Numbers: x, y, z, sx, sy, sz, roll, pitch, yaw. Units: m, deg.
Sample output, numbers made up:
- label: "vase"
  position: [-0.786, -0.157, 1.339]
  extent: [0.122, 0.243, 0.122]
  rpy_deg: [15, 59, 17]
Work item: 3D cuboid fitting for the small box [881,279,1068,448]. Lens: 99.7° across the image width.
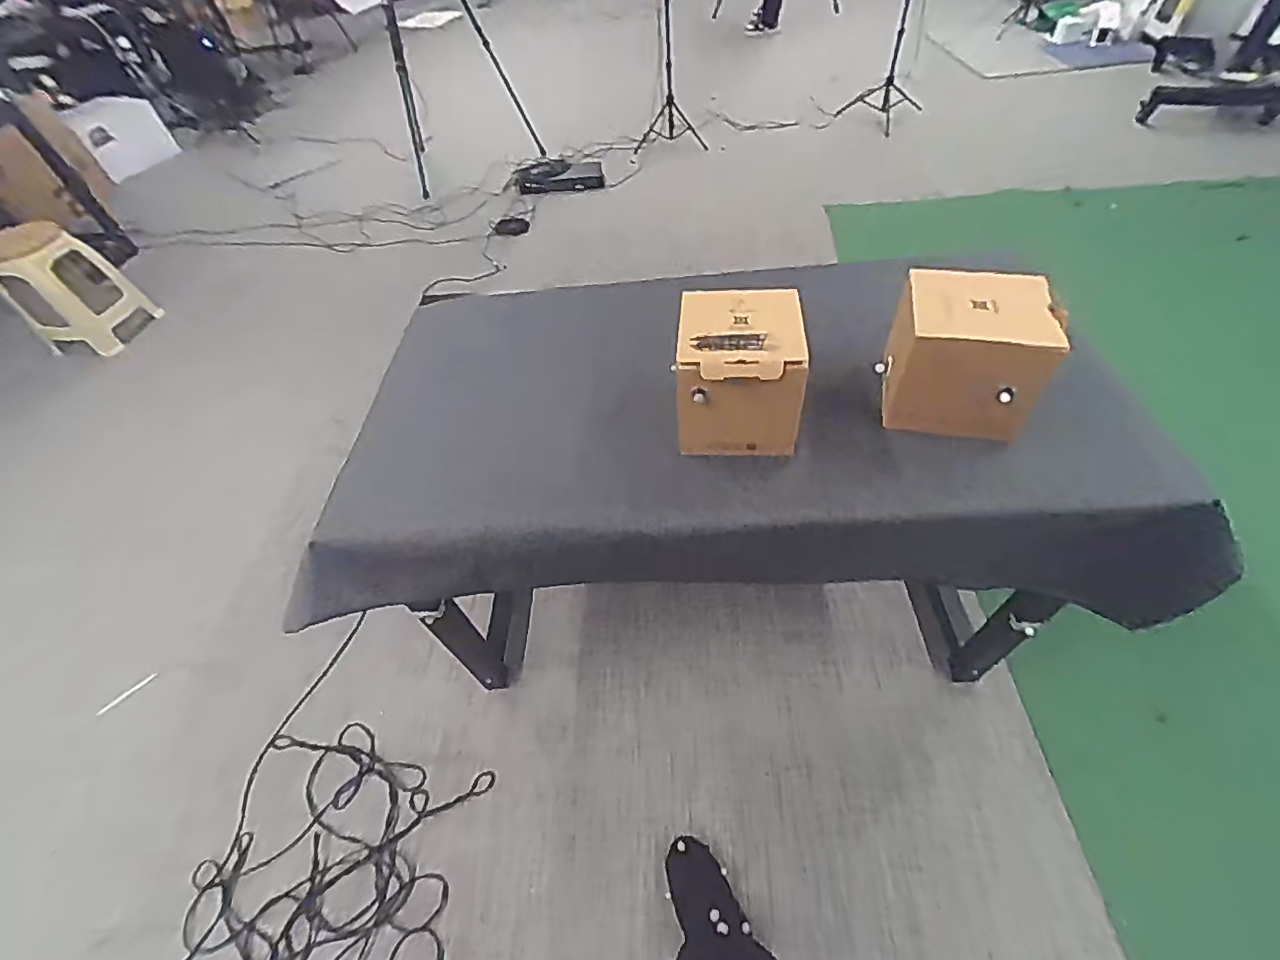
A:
- label: "small box"
  position: [0.460, -0.165, 0.778]
  extent: [0.179, 0.176, 0.168]
  rpy_deg: [8, 51, 14]
